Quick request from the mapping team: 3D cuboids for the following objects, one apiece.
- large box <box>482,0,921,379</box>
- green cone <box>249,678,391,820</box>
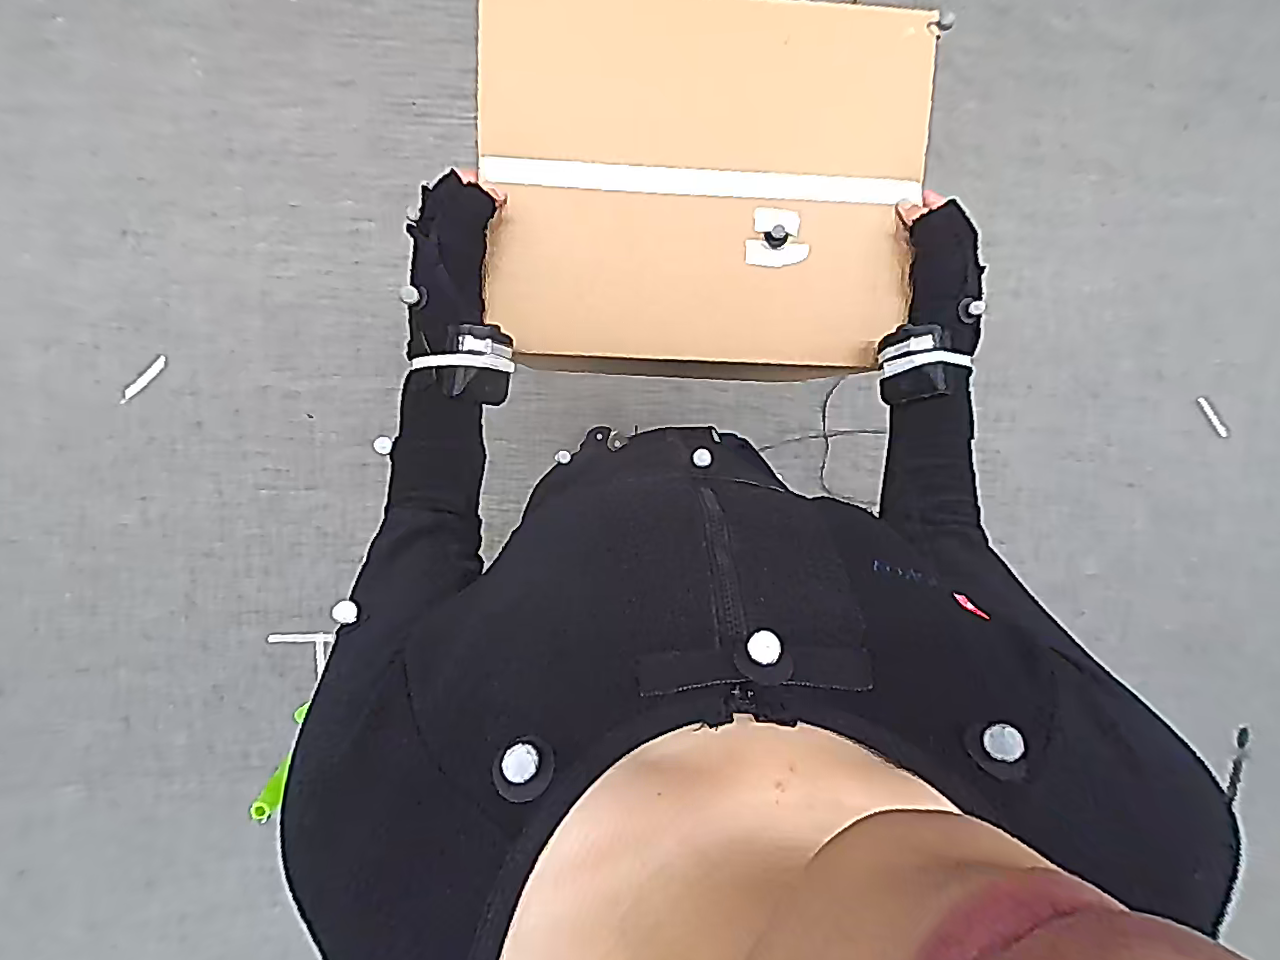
[{"bbox_3d":[0.046,-0.289,0.646,0.408,0.320,0.320,1,98,-4],"label":"large box"},{"bbox_3d":[-0.824,0.693,1.345,0.202,0.368,0.200,-35,95,3],"label":"green cone"}]
